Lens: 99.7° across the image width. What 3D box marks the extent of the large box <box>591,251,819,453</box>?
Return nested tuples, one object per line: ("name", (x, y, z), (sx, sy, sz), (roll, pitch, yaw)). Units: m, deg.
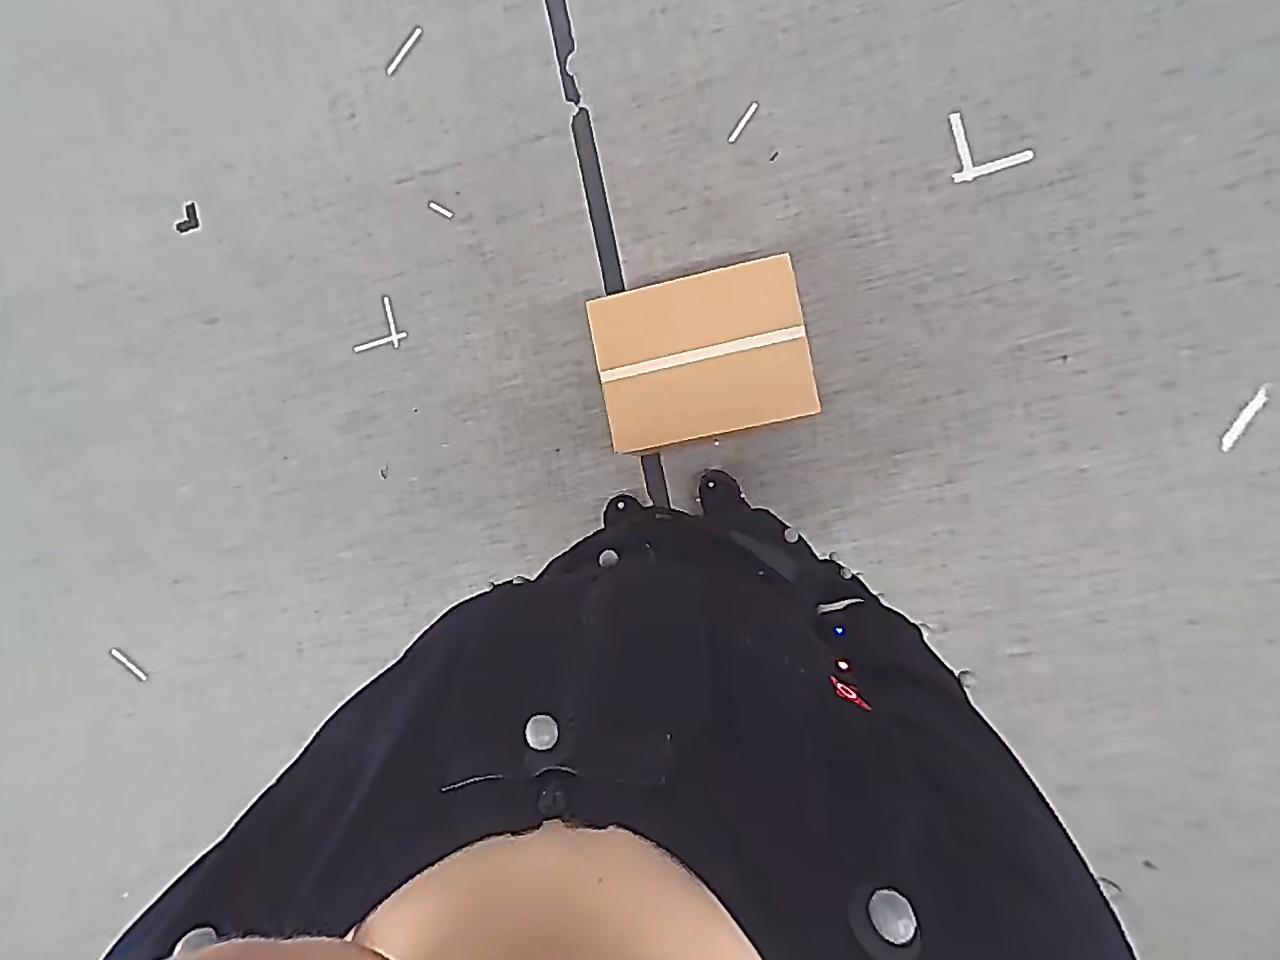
("large box", (0.139, -0.253, 1.205), (0.408, 0.320, 0.320), (-11, 91, 7))
